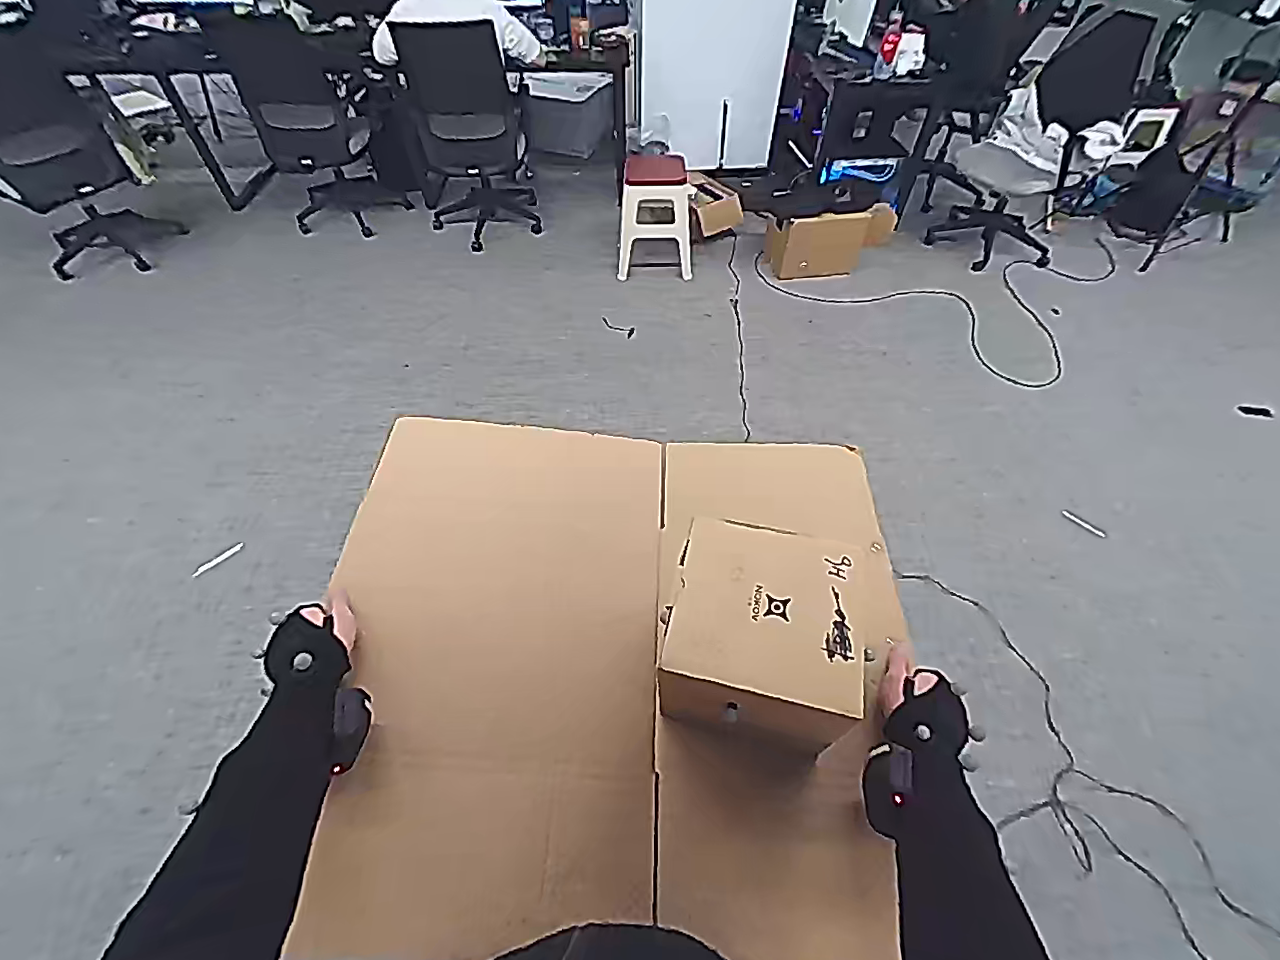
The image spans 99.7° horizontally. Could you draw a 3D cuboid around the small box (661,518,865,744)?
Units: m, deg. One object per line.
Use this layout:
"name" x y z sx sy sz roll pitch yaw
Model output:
"small box" 0.127 0.165 0.577 0.179 0.176 0.168 10 55 12
